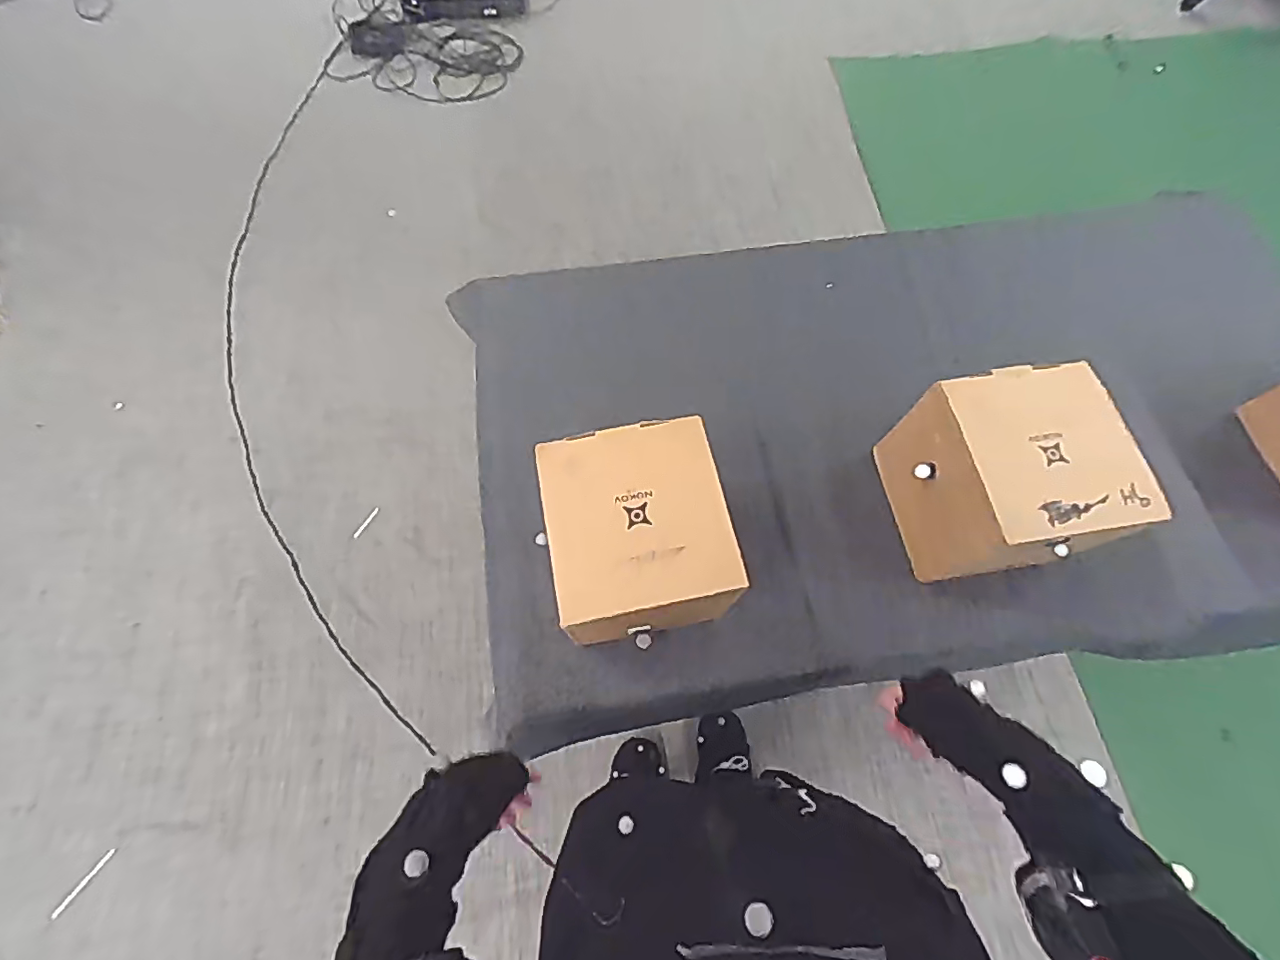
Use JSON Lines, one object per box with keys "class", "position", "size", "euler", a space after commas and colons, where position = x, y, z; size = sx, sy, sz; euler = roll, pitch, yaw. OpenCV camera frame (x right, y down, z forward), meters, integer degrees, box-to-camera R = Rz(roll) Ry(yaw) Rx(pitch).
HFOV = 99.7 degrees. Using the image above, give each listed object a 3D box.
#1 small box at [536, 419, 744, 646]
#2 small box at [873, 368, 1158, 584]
{"class": "small box", "position": [-0.006, 0.062, 0.569], "size": [0.168, 0.176, 0.179], "euler": [-11, 68, -5]}
{"class": "small box", "position": [0.388, 0.002, 0.602], "size": [0.168, 0.176, 0.179], "euler": [-8, 67, -4]}
